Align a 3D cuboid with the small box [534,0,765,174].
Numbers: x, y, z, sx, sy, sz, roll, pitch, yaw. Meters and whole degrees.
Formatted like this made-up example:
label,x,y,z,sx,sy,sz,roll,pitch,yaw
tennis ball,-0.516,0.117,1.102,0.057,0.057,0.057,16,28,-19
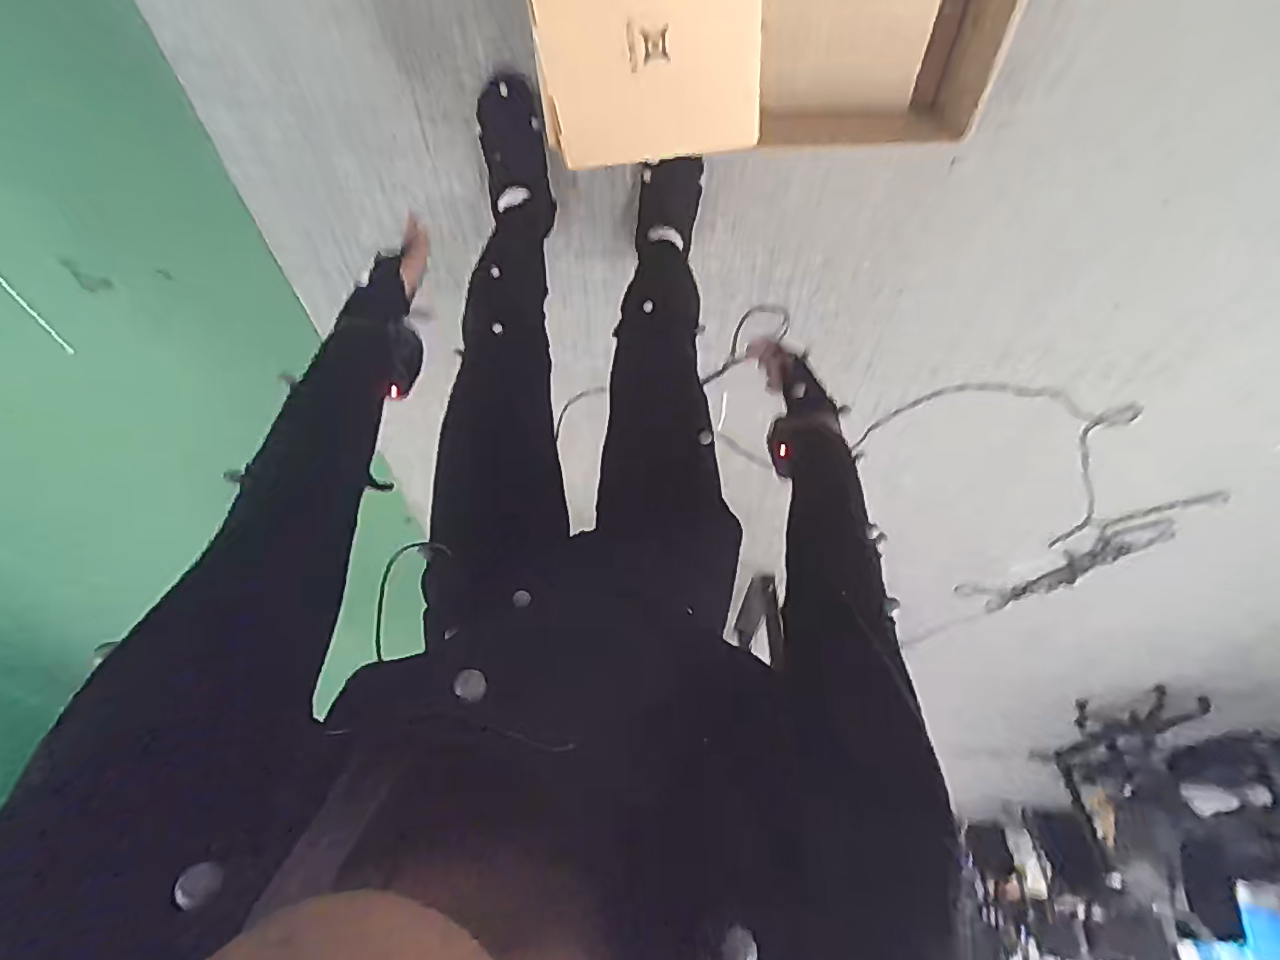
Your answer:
label,x,y,z,sx,sy,sz,roll,pitch,yaw
small box,0.013,-0.405,0.483,0.179,0.176,0.168,-3,141,7
